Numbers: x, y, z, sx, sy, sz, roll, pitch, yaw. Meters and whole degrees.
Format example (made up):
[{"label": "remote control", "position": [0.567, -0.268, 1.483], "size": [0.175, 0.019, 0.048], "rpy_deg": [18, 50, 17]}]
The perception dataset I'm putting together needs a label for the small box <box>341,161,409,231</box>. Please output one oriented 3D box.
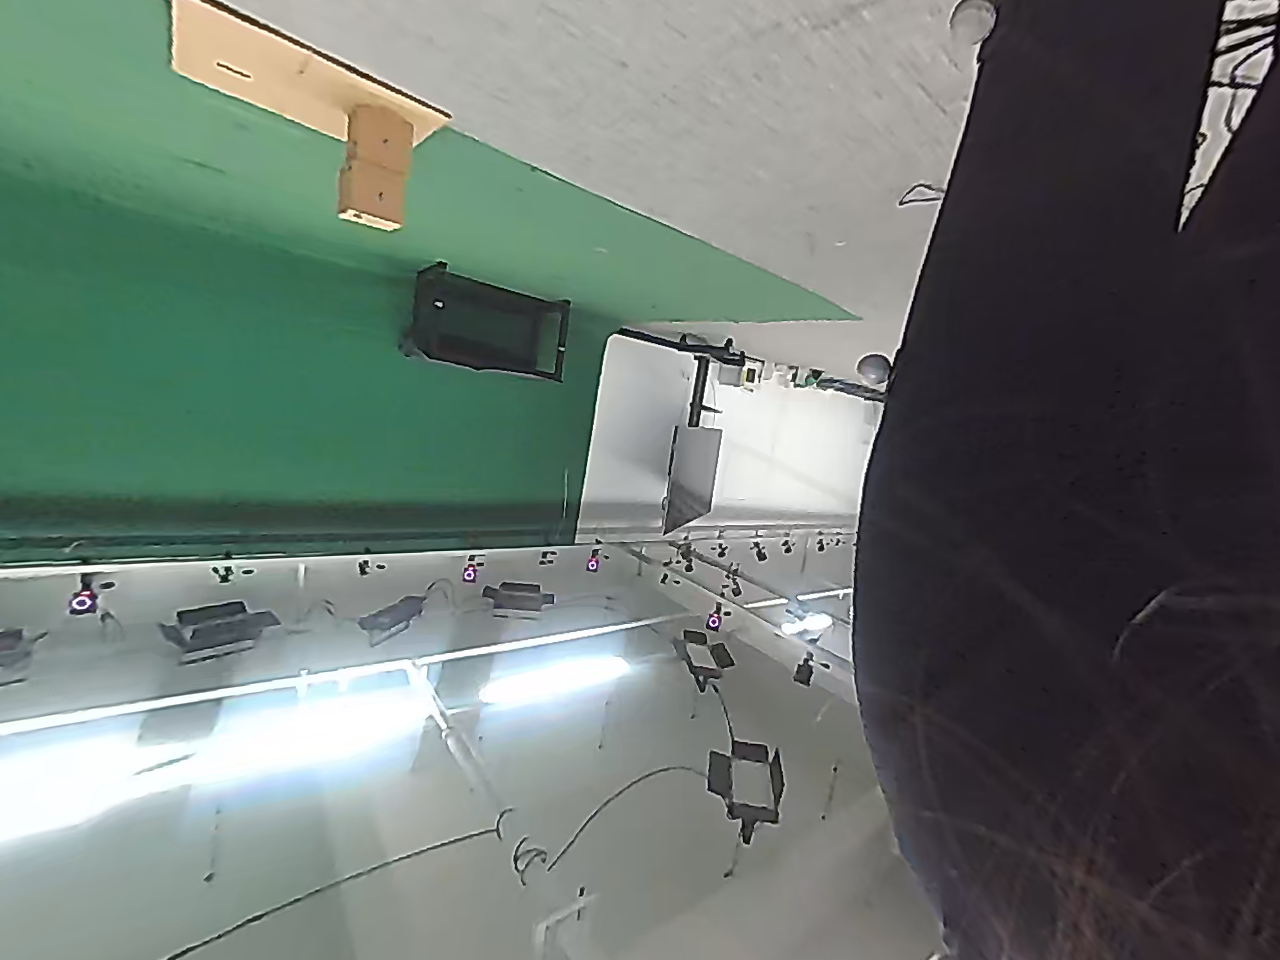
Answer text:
[{"label": "small box", "position": [-0.934, -1.002, 1.906], "size": [0.179, 0.176, 0.168], "rpy_deg": [-1, -167, -43]}]
